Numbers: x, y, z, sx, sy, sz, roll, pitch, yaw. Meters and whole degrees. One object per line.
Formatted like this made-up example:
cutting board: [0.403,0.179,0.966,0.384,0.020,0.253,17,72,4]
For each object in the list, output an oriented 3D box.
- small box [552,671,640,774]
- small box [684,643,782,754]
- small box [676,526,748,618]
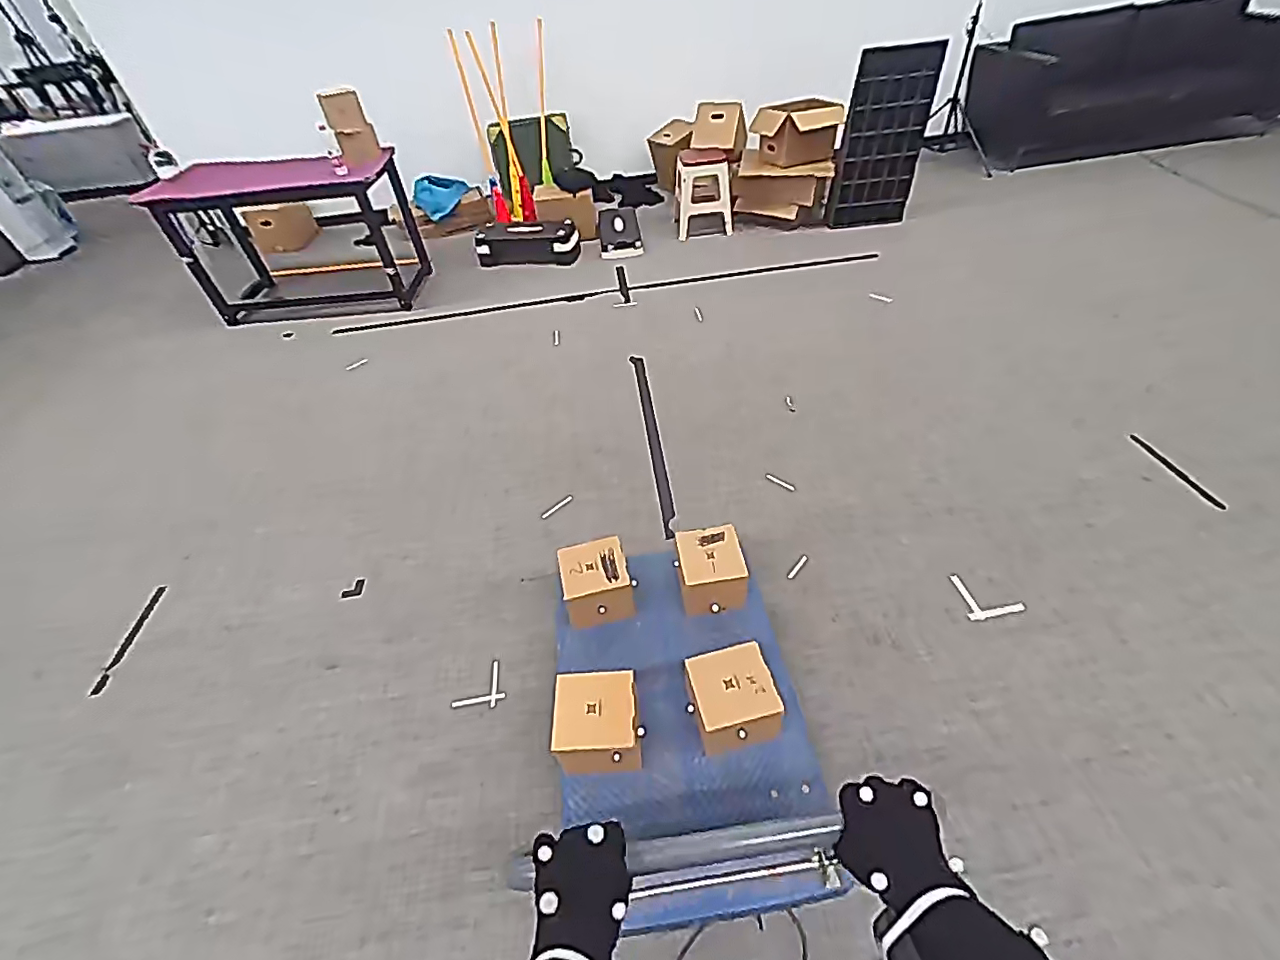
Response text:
small box: [-0.094,0.556,1.233,0.179,0.176,0.168,-4,45,1]
small box: [0.209,0.506,1.244,0.179,0.176,0.168,-13,45,-5]
small box: [0.193,0.255,1.495,0.168,0.176,0.179,-9,46,-1]
